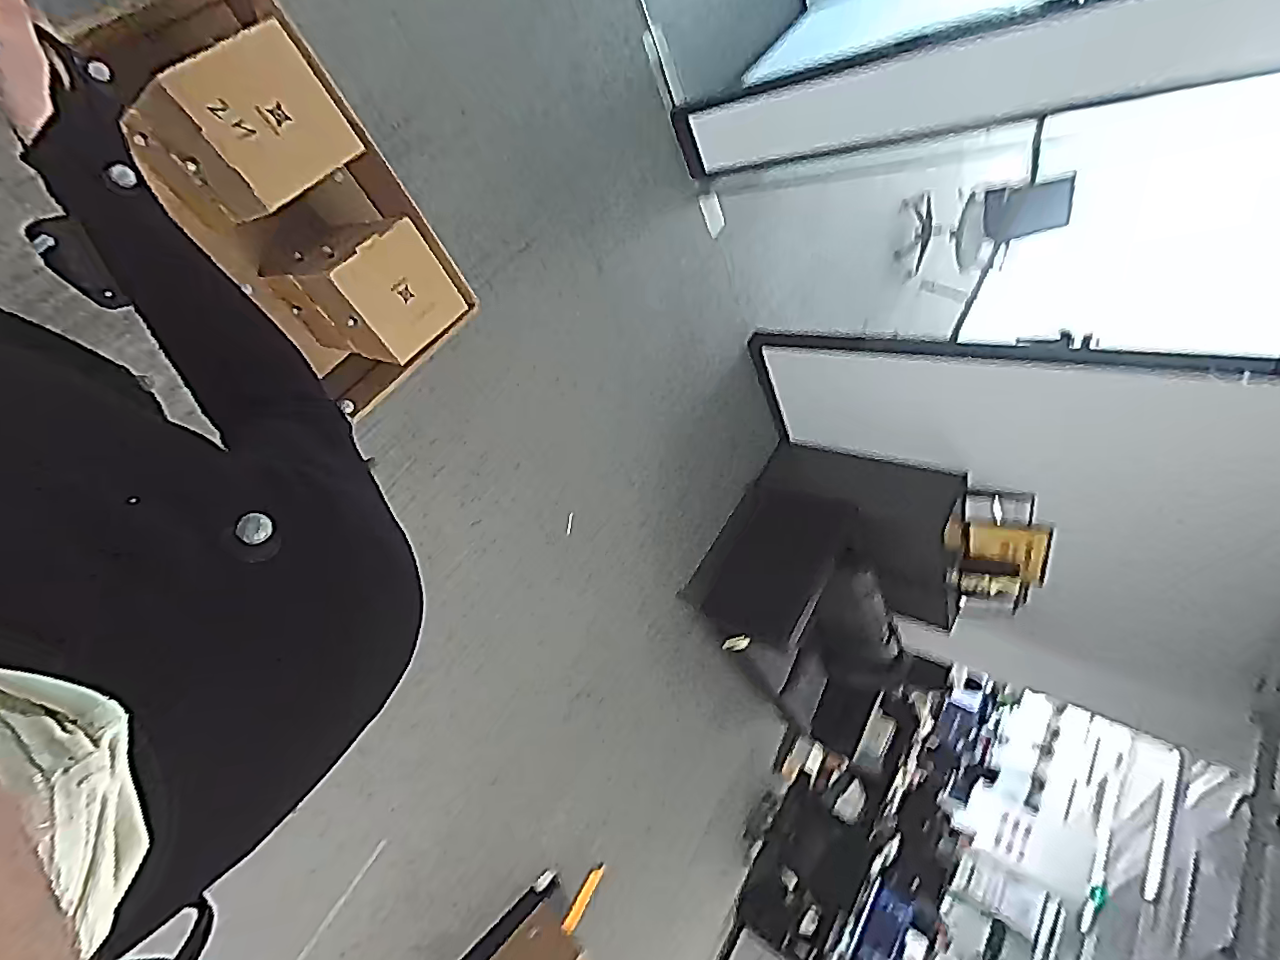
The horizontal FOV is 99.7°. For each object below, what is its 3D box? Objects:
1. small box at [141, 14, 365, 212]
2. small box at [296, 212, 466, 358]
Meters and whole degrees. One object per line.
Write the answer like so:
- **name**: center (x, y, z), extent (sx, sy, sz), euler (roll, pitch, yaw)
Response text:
- **small box**: center (-0.541, -0.503, 0.759), extent (0.179, 0.176, 0.168), euler (-53, 137, -23)
- **small box**: center (-0.449, -0.335, 0.938), extent (0.168, 0.176, 0.179), euler (-51, 137, -23)
